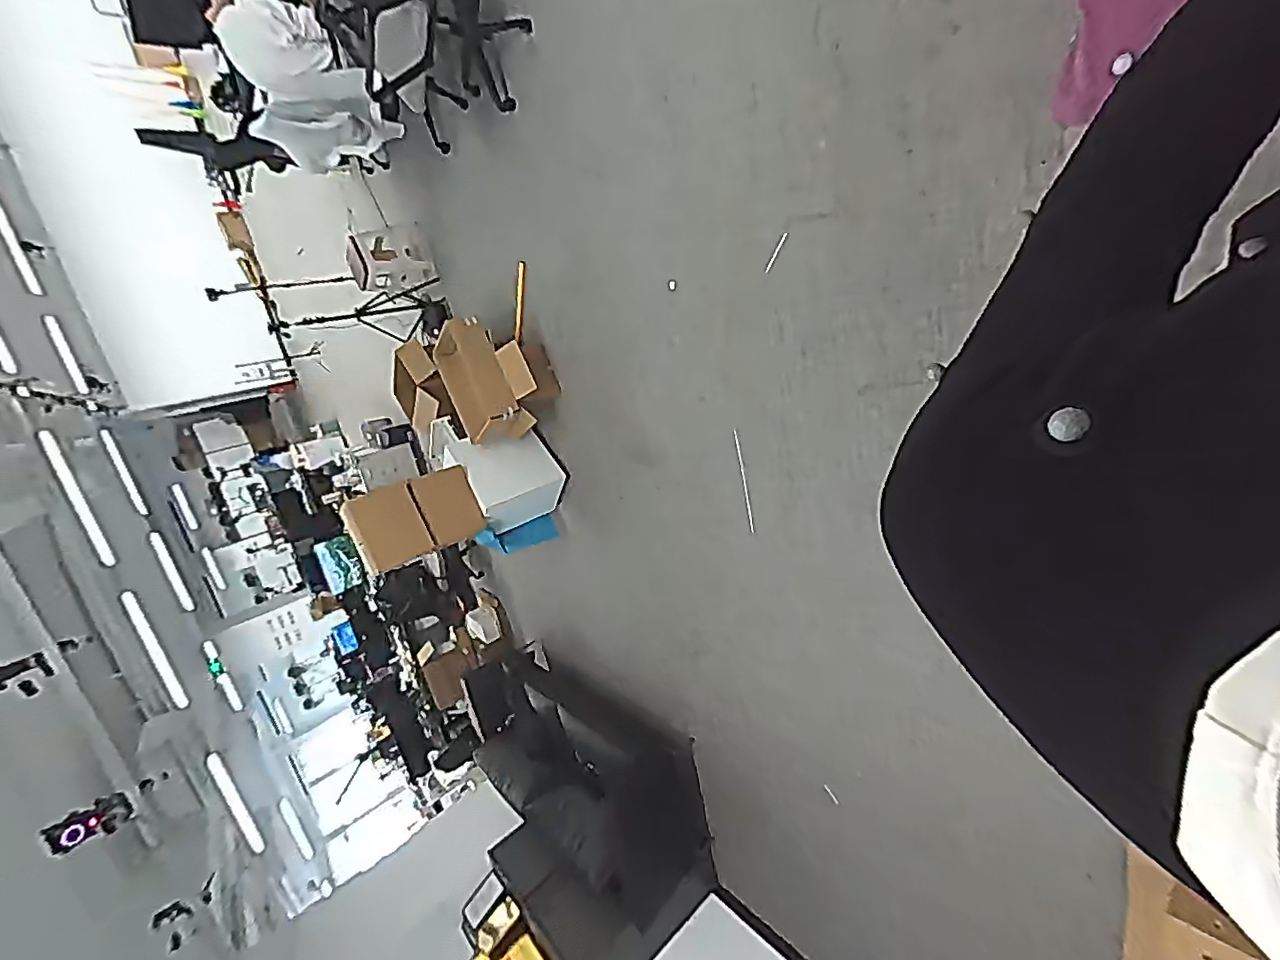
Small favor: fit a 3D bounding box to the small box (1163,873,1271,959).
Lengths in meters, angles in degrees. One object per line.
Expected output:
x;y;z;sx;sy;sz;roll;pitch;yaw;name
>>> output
1.512;1.193;1.417;0.179;0.176;0.168;9;115;50;small box
